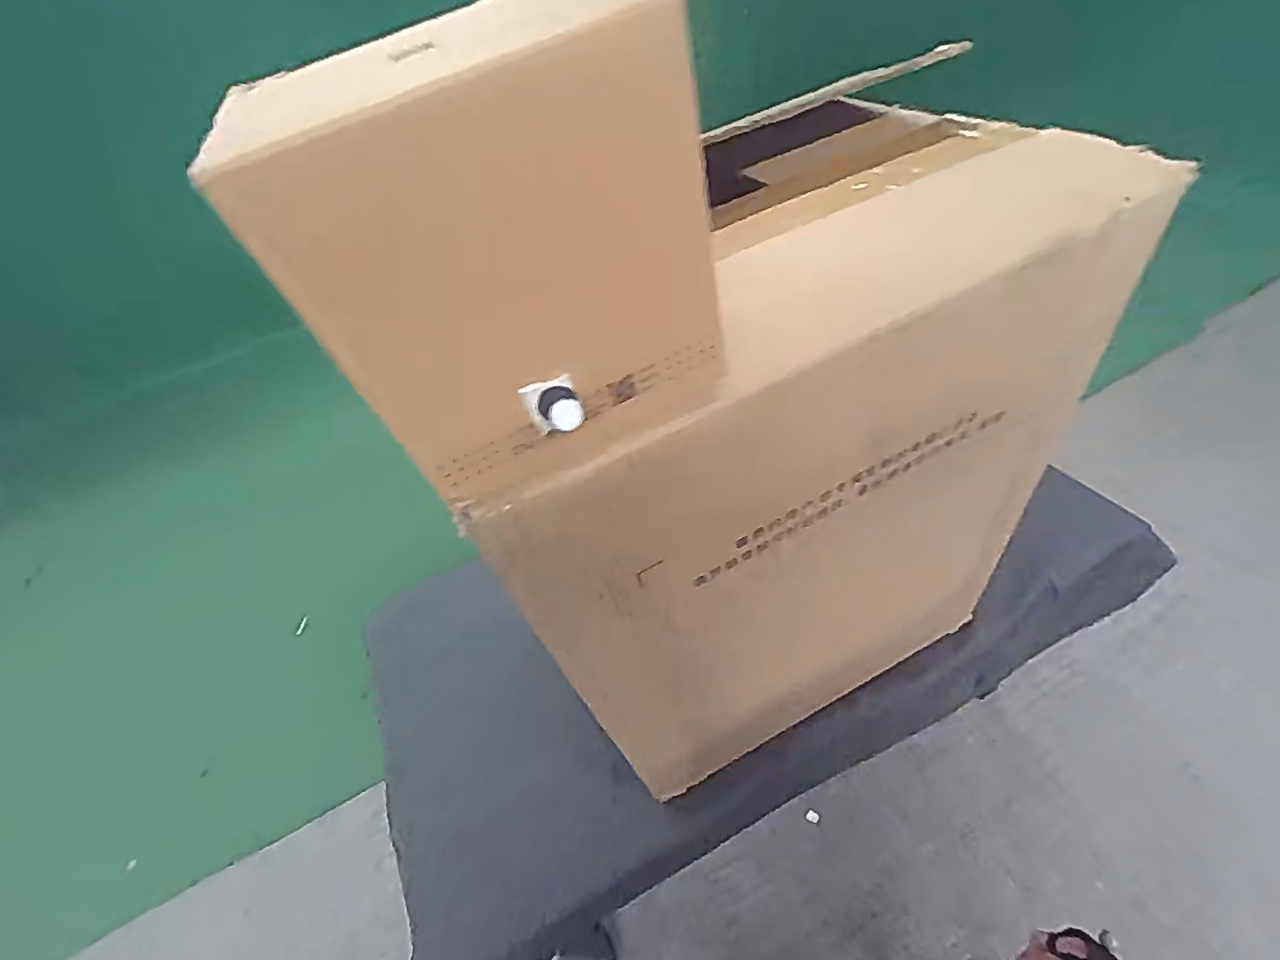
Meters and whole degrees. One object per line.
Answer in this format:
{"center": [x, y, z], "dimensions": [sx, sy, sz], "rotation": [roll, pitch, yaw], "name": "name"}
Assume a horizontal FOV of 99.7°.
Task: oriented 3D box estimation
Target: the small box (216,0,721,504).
{"center": [-0.075, -0.121, 0.287], "dimensions": [0.168, 0.176, 0.179], "rotation": [-29, 49, -10], "name": "small box"}
